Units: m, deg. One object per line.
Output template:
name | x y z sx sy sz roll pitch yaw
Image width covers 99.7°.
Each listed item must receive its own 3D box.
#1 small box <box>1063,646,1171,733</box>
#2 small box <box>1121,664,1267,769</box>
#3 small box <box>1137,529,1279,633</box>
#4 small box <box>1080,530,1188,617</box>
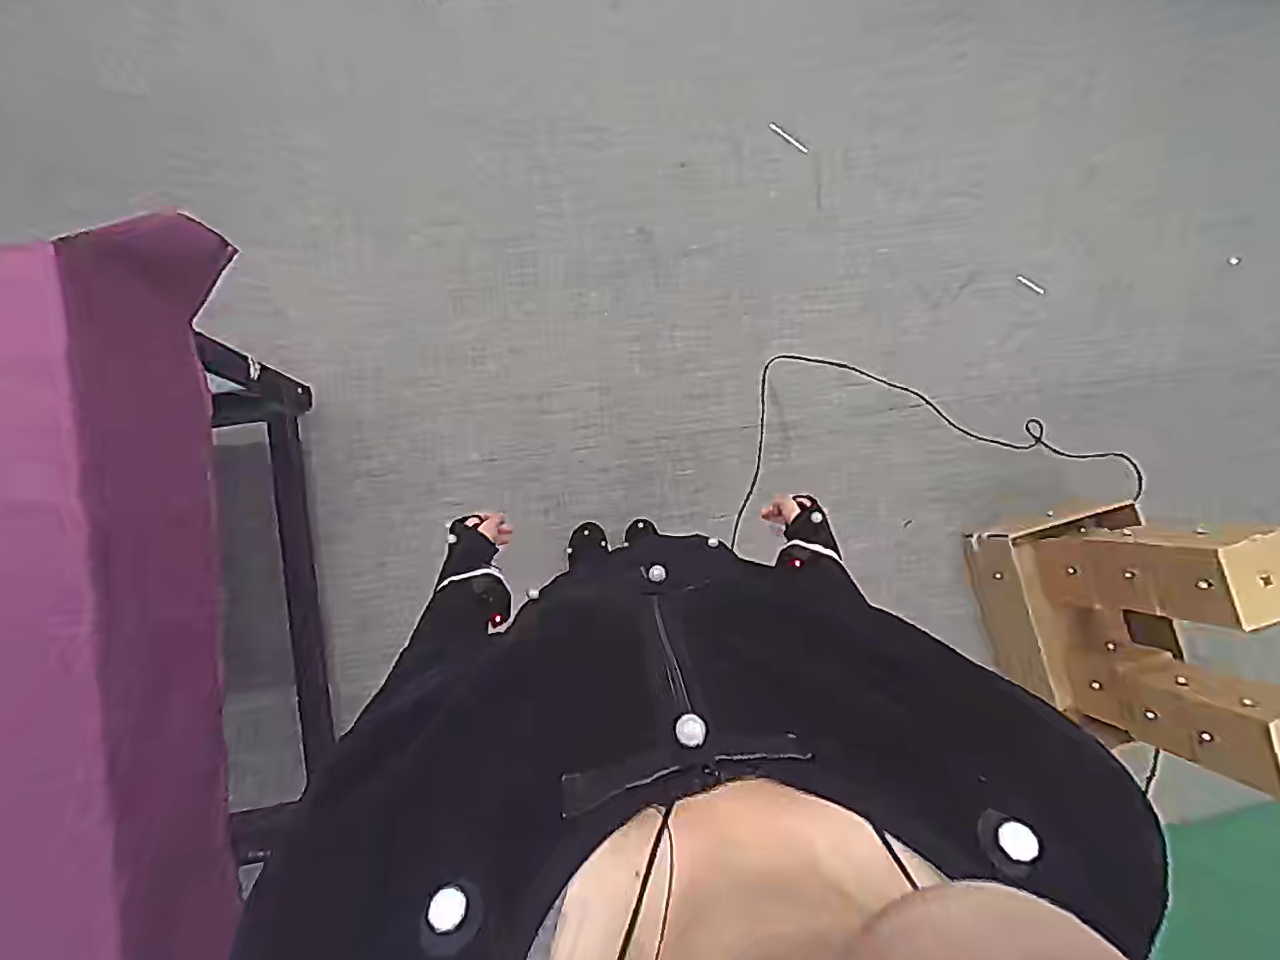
small box | 1.299 0.559 1.465 0.168 0.176 0.179 -11 85 -5
small box | 1.313 0.560 1.300 0.179 0.176 0.168 -11 87 -6
small box | 1.242 0.208 1.163 0.168 0.176 0.179 -16 86 -3
small box | 1.232 0.221 1.324 0.168 0.176 0.179 -11 87 -4
